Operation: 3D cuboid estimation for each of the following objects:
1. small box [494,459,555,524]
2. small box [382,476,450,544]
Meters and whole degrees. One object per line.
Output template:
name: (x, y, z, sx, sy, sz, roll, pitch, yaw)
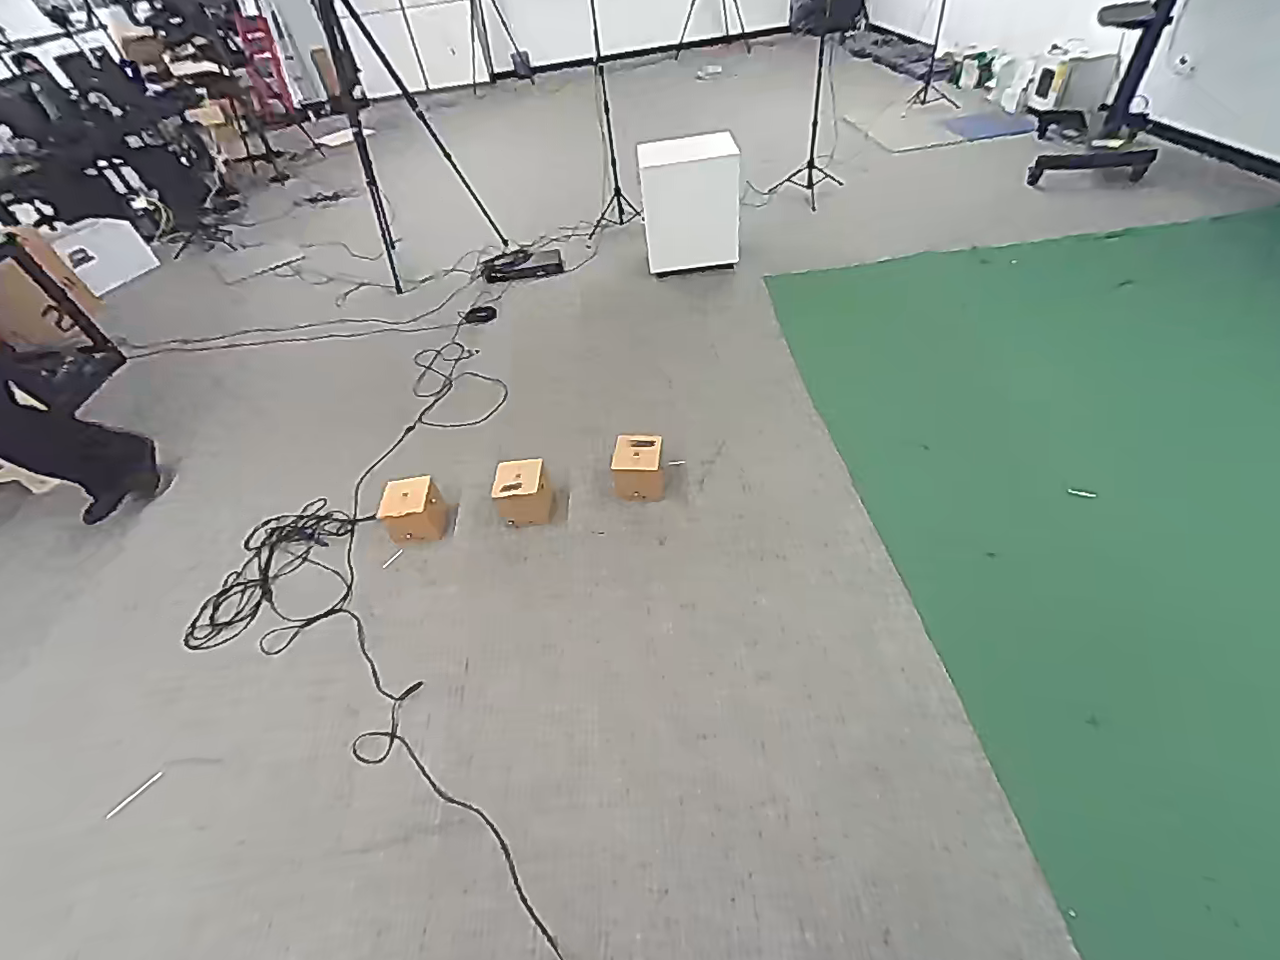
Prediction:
small box: (-0.414, 0.048, 1.974, 0.168, 0.176, 0.179, -5, 46, 5)
small box: (-0.812, 0.111, 1.982, 0.168, 0.176, 0.179, -9, 47, 1)
